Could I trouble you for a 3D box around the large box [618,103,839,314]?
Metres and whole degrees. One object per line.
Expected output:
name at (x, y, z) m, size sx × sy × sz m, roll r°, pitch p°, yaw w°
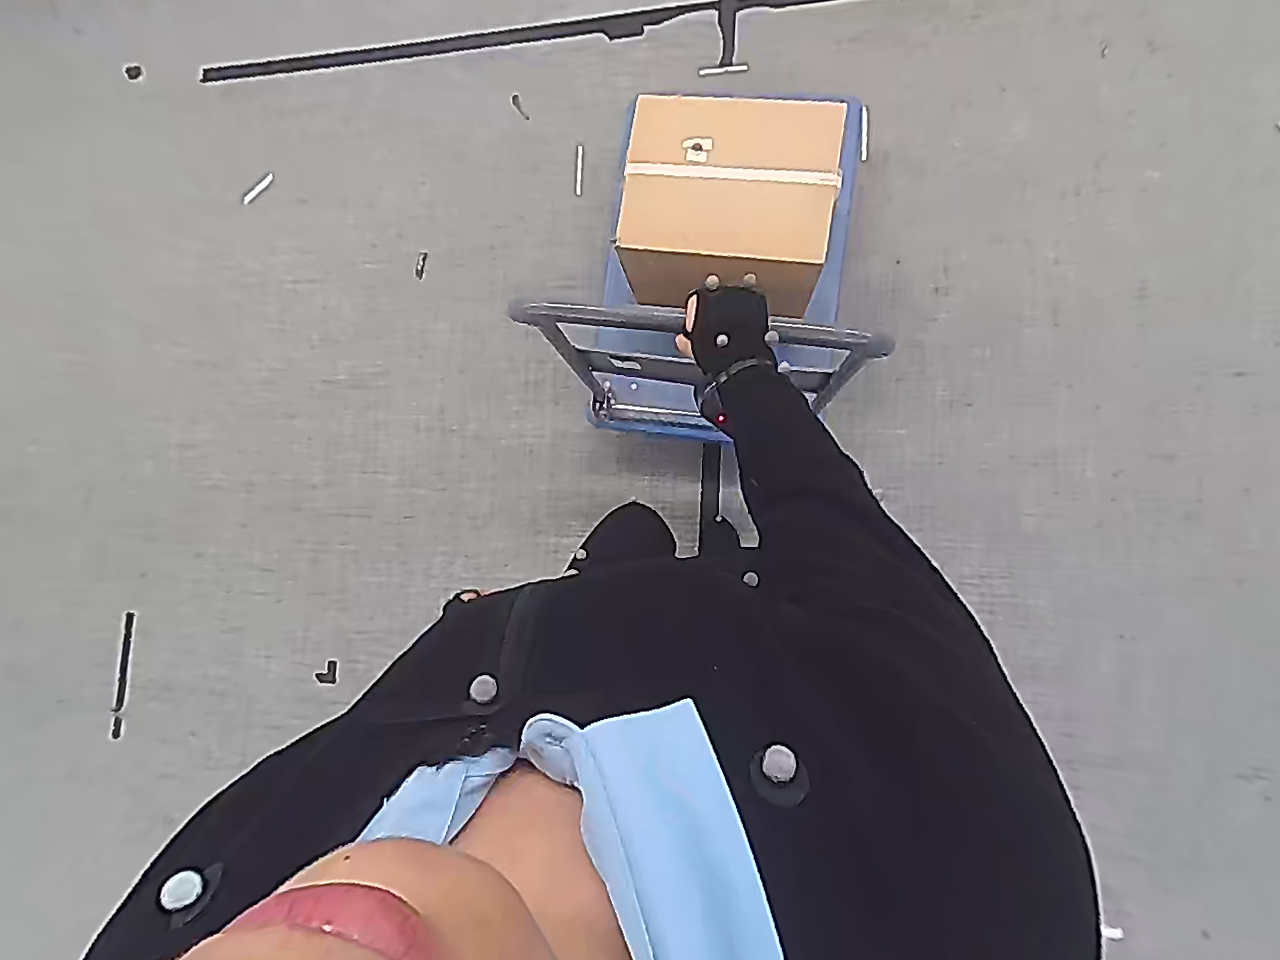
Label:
large box at (0.194, -0.580, 1.200) m, size 0.408 × 0.320 × 0.320 m, roll 8°, pitch 87°, yaw 10°
